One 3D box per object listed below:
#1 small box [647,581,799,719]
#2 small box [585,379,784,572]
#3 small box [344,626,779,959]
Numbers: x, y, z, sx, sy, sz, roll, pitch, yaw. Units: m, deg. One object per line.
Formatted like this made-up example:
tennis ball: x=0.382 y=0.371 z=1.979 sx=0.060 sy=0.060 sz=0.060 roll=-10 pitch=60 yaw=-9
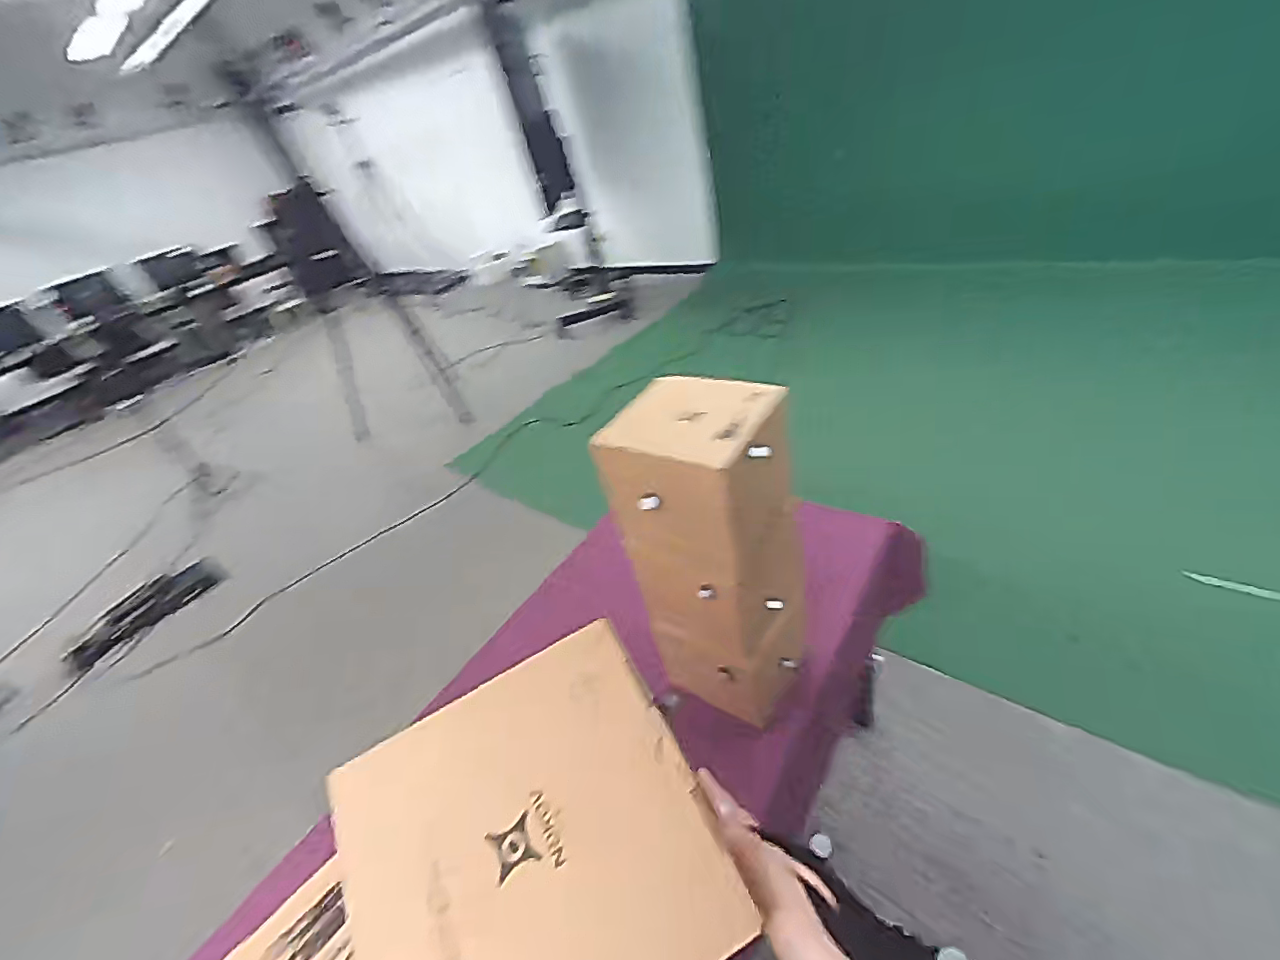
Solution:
small box: x=0.141 y=0.248 z=0.862 sx=0.179 sy=0.176 sz=0.168 roll=14 pitch=45 yaw=36
small box: x=0.065 y=-0.010 z=0.675 sx=0.179 sy=0.176 sz=0.168 roll=11 pitch=45 yaw=33
small box: x=-0.039 y=0.223 z=0.328 sx=0.179 sy=0.176 sz=0.168 roll=-28 pitch=54 yaw=-8
